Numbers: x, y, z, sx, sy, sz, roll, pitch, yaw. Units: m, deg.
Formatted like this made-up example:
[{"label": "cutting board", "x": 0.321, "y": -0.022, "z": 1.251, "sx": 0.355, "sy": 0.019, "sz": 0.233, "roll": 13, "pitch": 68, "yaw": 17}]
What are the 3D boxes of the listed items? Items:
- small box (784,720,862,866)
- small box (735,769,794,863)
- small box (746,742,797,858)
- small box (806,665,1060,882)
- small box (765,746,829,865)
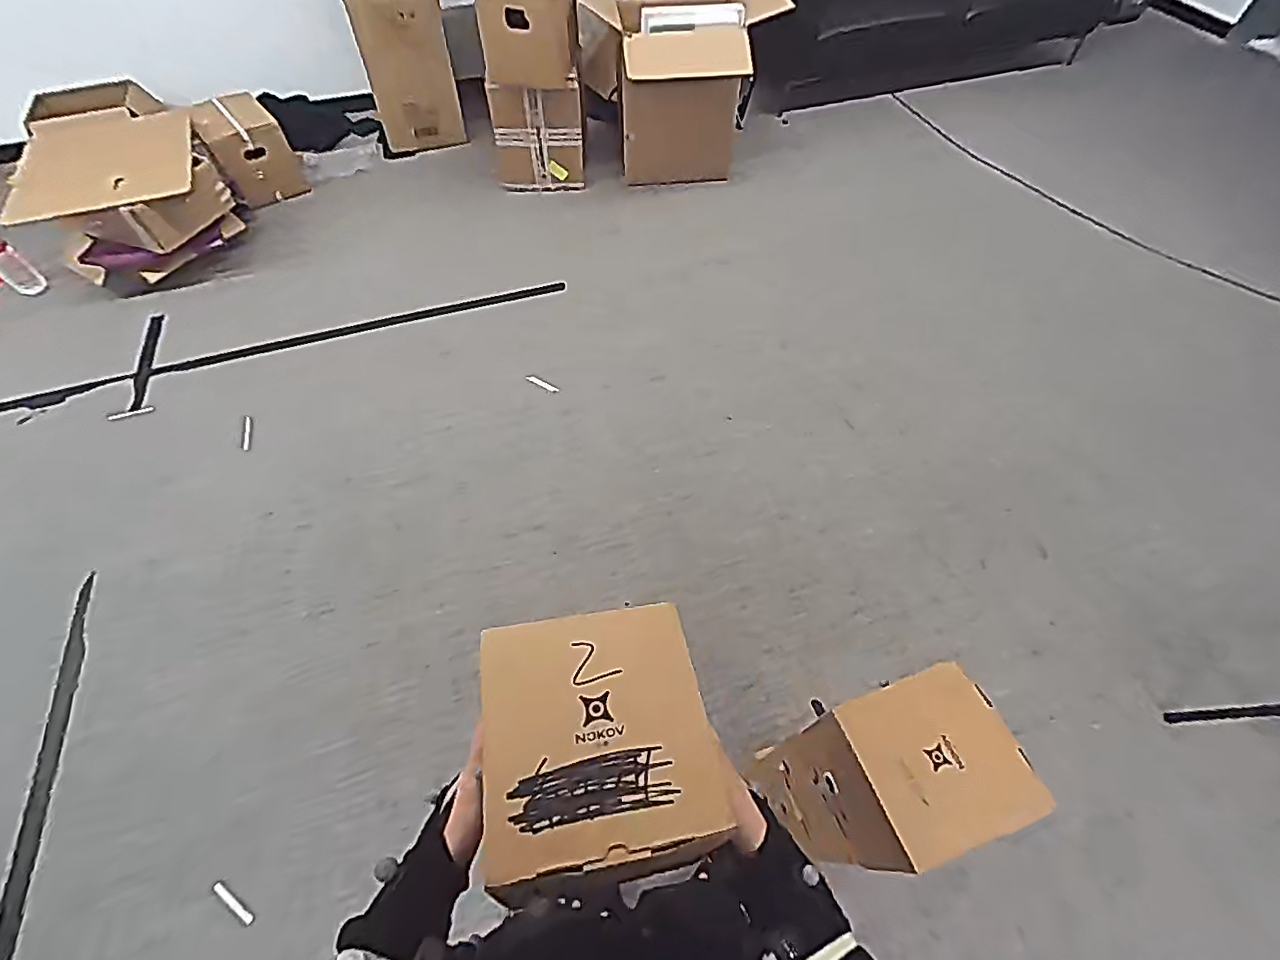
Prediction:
[{"label": "small box", "x": 0.326, "y": 0.437, "z": 0.784, "sx": 0.179, "sy": 0.176, "sz": 0.168, "roll": -14, "pitch": 57, "yaw": -10}, {"label": "small box", "x": 0.326, "y": 0.712, "z": 1.193, "sx": 0.168, "sy": 0.176, "sz": 0.179, "roll": -16, "pitch": 58, "yaw": -10}, {"label": "small box", "x": 0.320, "y": 0.616, "z": 1.059, "sx": 0.168, "sy": 0.176, "sz": 0.179, "roll": -14, "pitch": 57, "yaw": -8}, {"label": "small box", "x": 0.327, "y": 0.349, "z": 0.649, "sx": 0.179, "sy": 0.176, "sz": 0.168, "roll": -17, "pitch": 57, "yaw": -10}, {"label": "small box", "x": 0.326, "y": 0.531, "z": 0.919, "sx": 0.179, "sy": 0.176, "sz": 0.168, "roll": -15, "pitch": 57, "yaw": -8}]
